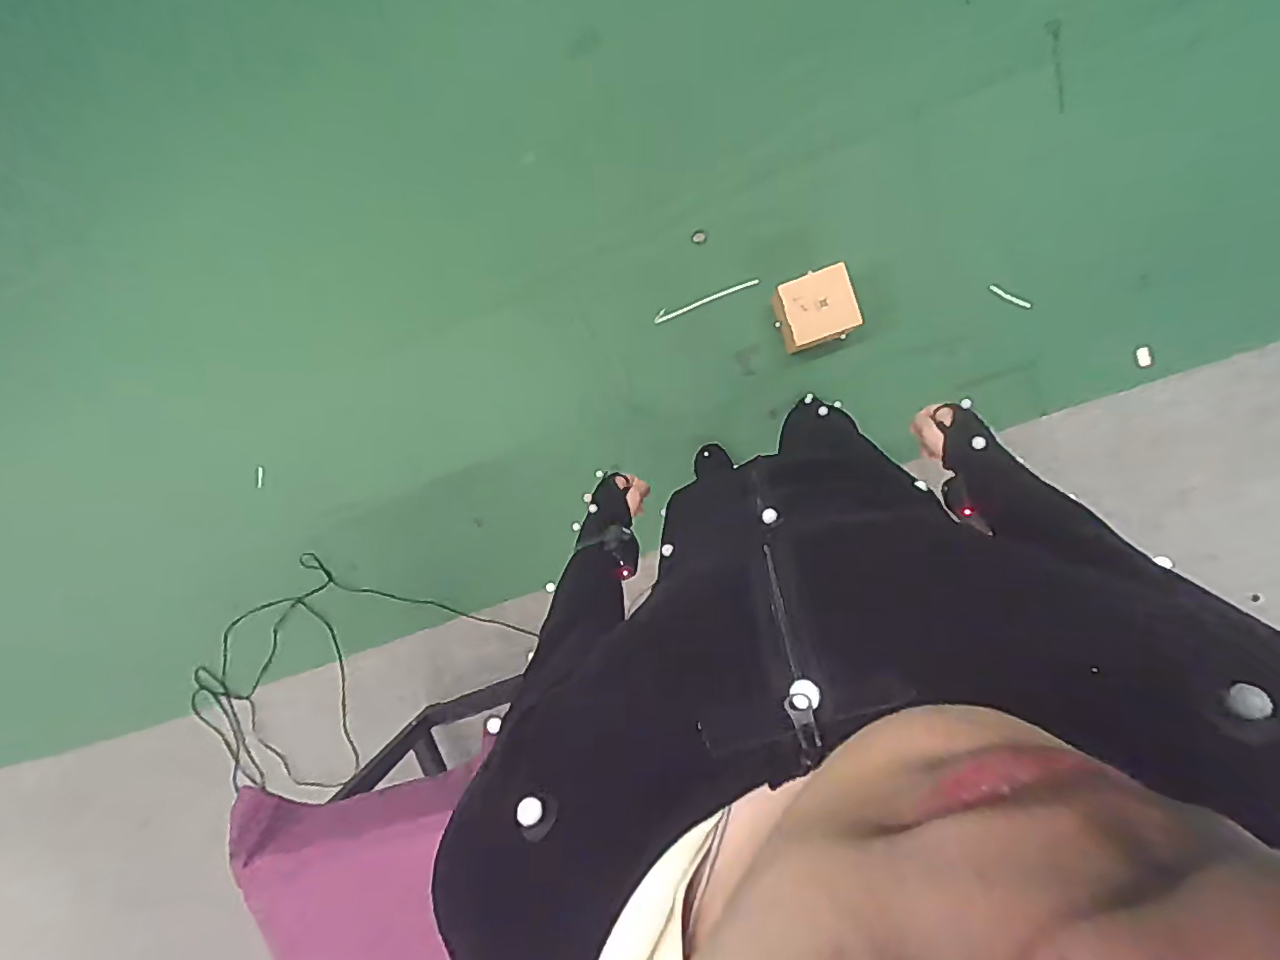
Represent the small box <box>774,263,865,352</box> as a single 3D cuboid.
[{"bbox_3d":[0.476,-0.457,1.457,0.179,0.176,0.168,-18,93,9],"label":"small box"}]
